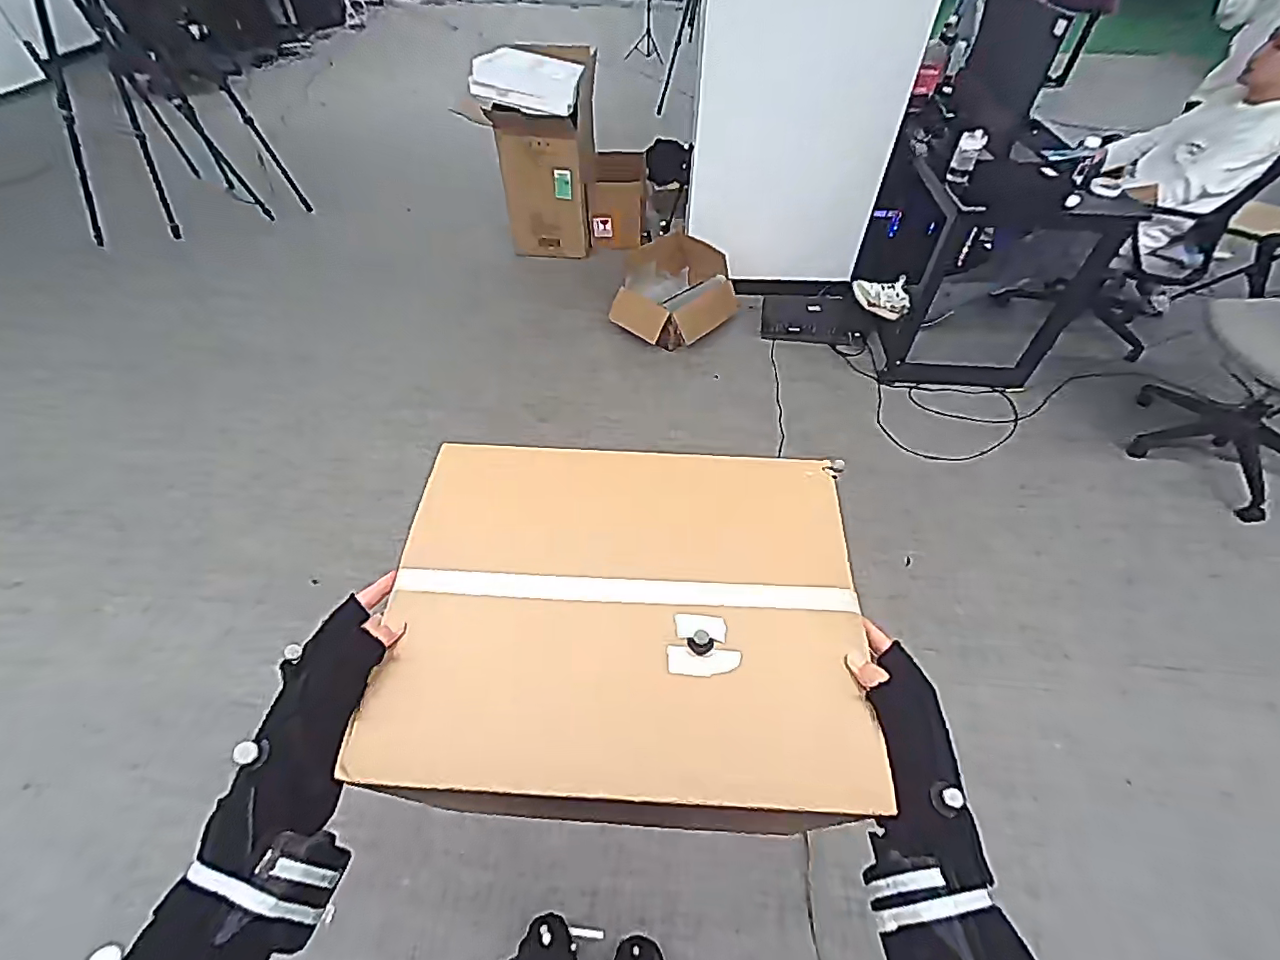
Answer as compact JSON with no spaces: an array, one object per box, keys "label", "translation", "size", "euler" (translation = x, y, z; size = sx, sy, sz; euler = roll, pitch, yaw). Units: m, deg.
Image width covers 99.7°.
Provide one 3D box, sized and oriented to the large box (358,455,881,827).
[{"label":"large box","translation":[-0.014,0.191,0.610],"size":[0.408,0.320,0.320],"euler":[3,54,1]}]
